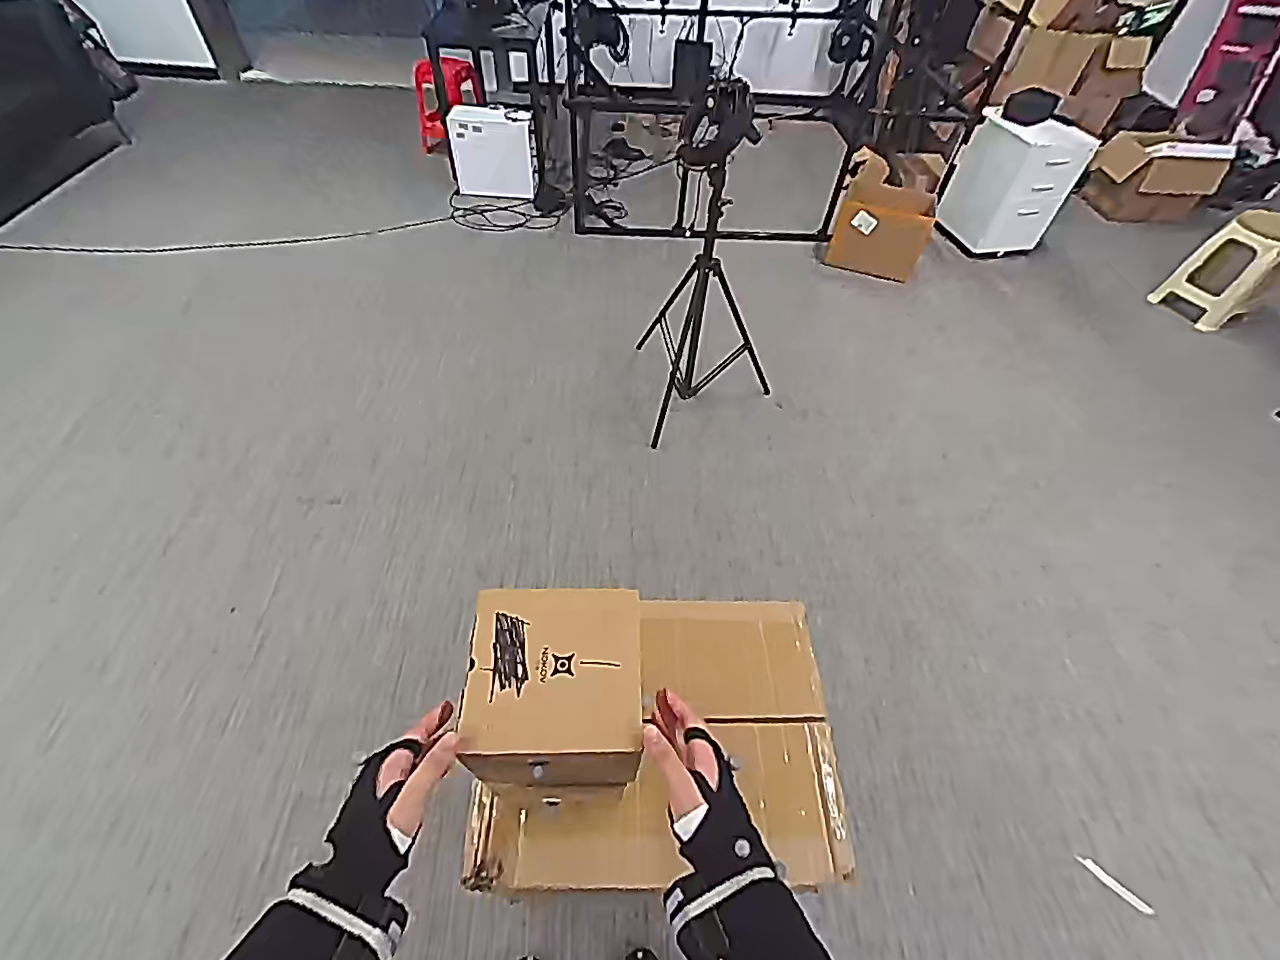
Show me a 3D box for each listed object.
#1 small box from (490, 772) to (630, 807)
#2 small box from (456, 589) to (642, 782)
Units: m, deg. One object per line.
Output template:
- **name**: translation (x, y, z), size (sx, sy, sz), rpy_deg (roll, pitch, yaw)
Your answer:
- **small box**: translation (-0.099, 0.336, 0.743), size (0.168, 0.176, 0.179), rpy_deg (0, 53, -3)
- **small box**: translation (-0.089, 0.236, 0.612), size (0.179, 0.176, 0.168), rpy_deg (0, 52, -4)
